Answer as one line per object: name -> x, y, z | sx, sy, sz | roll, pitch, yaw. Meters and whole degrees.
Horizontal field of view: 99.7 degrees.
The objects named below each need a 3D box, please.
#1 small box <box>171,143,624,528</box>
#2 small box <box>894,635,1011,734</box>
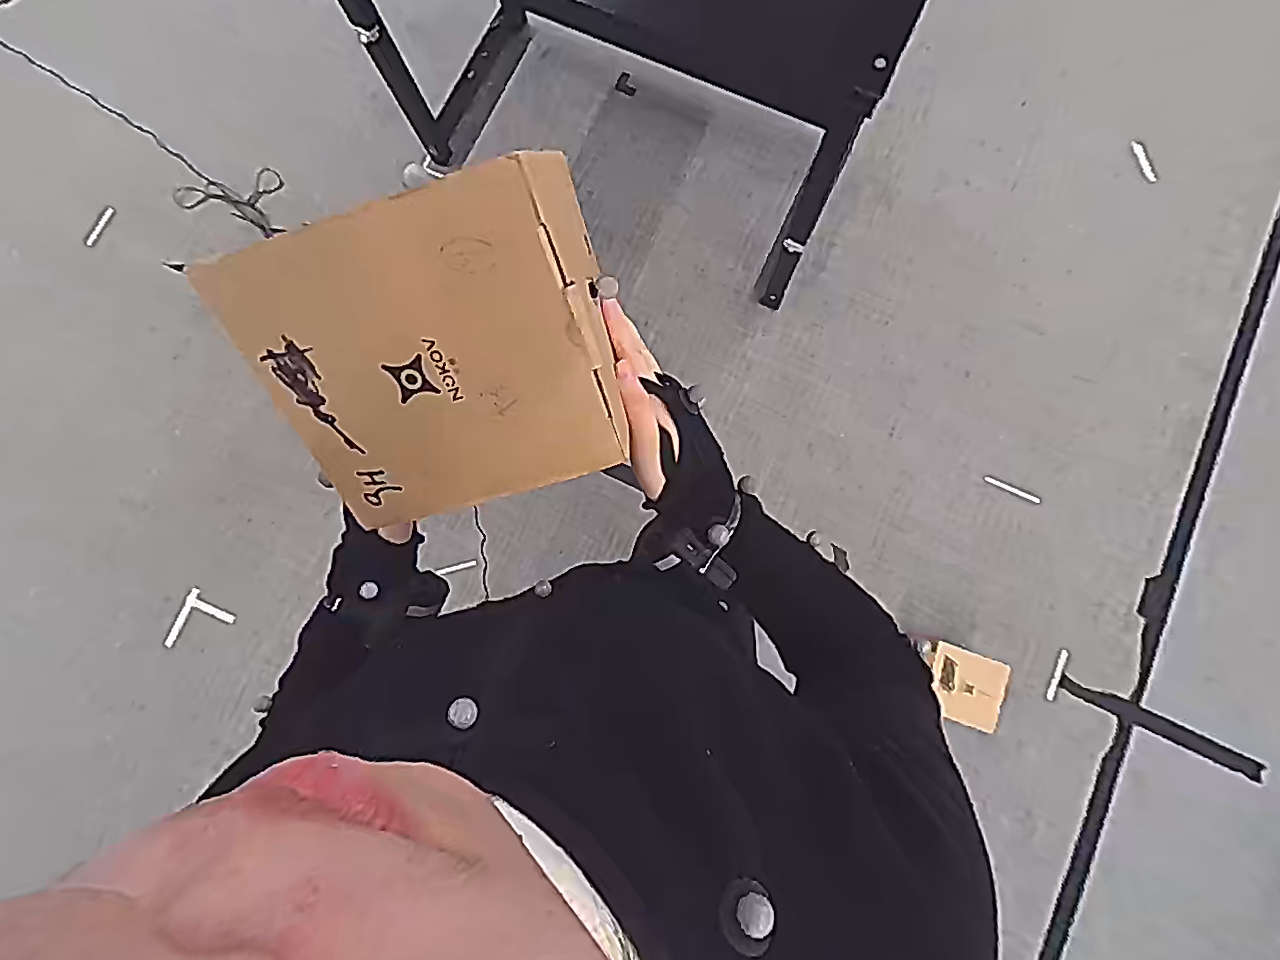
small box -> -0.117, -0.100, 0.348 | 0.179, 0.176, 0.168 | -15, 120, 6
small box -> 0.763, 0.494, 1.339 | 0.179, 0.176, 0.168 | 19, 84, 4
